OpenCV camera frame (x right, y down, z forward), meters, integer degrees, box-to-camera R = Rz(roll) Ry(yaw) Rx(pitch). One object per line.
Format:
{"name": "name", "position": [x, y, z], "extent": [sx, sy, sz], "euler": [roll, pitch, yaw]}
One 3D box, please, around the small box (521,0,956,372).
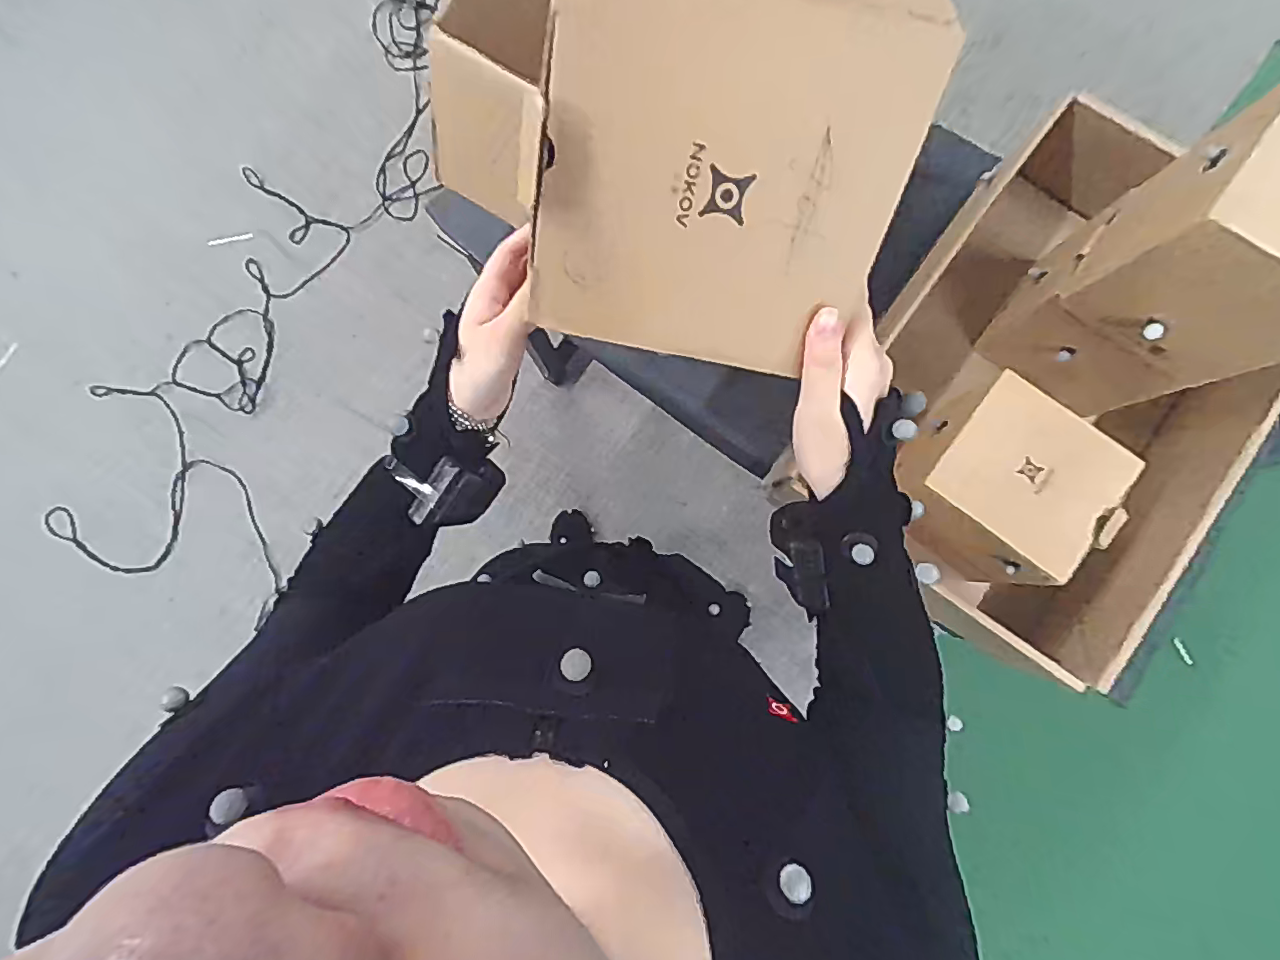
{"name": "small box", "position": [0.034, -0.186, 0.329], "extent": [0.179, 0.176, 0.168], "euler": [8, 124, -7]}

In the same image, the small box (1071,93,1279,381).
{"name": "small box", "position": [0.575, -0.225, 0.514], "extent": [0.168, 0.176, 0.179], "euler": [37, 87, 6]}
